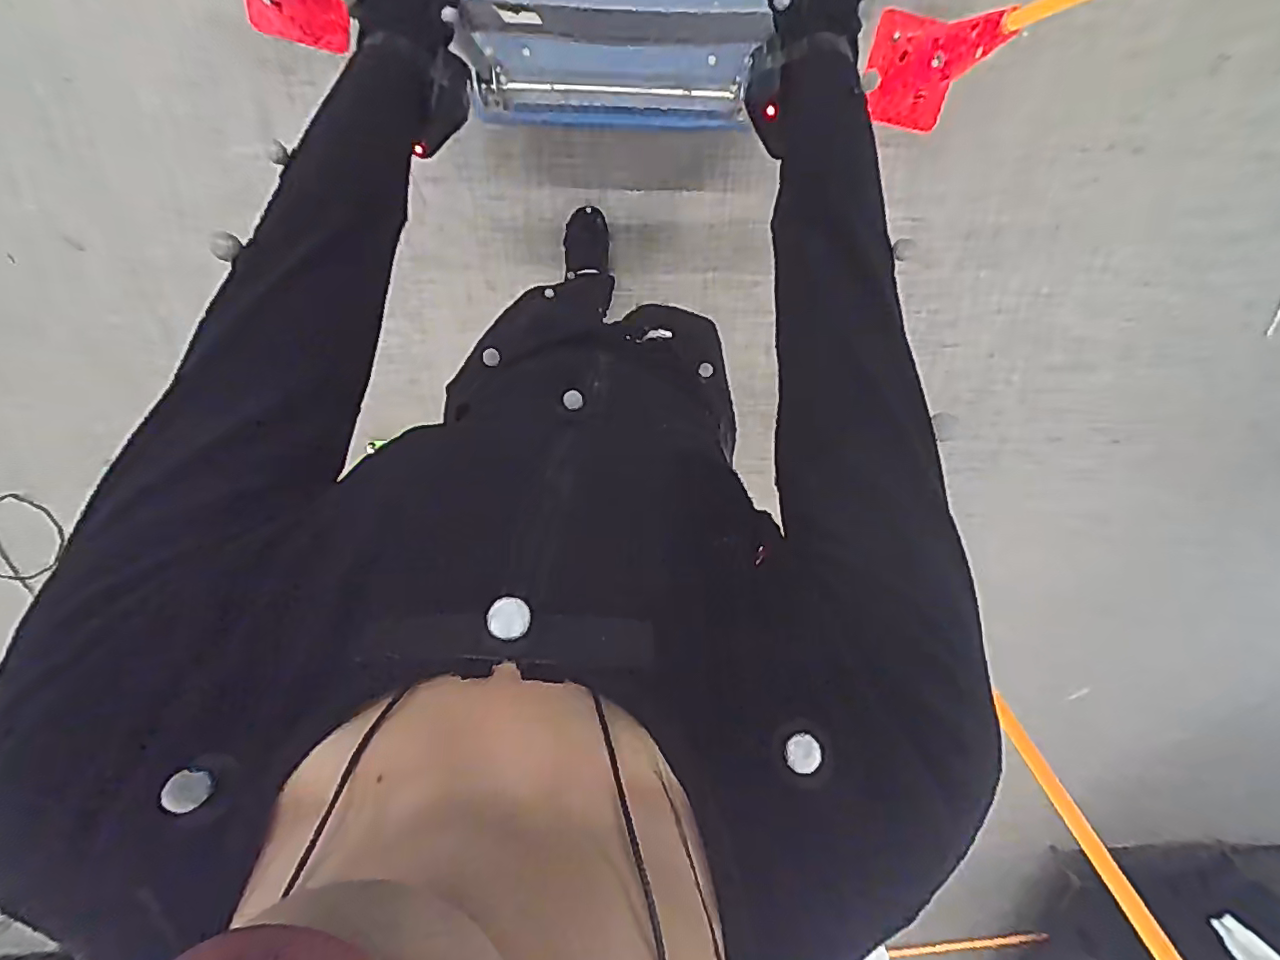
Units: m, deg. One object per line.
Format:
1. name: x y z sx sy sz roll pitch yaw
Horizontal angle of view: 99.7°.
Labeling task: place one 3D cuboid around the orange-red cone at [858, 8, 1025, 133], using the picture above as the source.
1. orange-red cone: 0.602 -0.816 1.032 0.198 0.360 0.199 10 116 -6
